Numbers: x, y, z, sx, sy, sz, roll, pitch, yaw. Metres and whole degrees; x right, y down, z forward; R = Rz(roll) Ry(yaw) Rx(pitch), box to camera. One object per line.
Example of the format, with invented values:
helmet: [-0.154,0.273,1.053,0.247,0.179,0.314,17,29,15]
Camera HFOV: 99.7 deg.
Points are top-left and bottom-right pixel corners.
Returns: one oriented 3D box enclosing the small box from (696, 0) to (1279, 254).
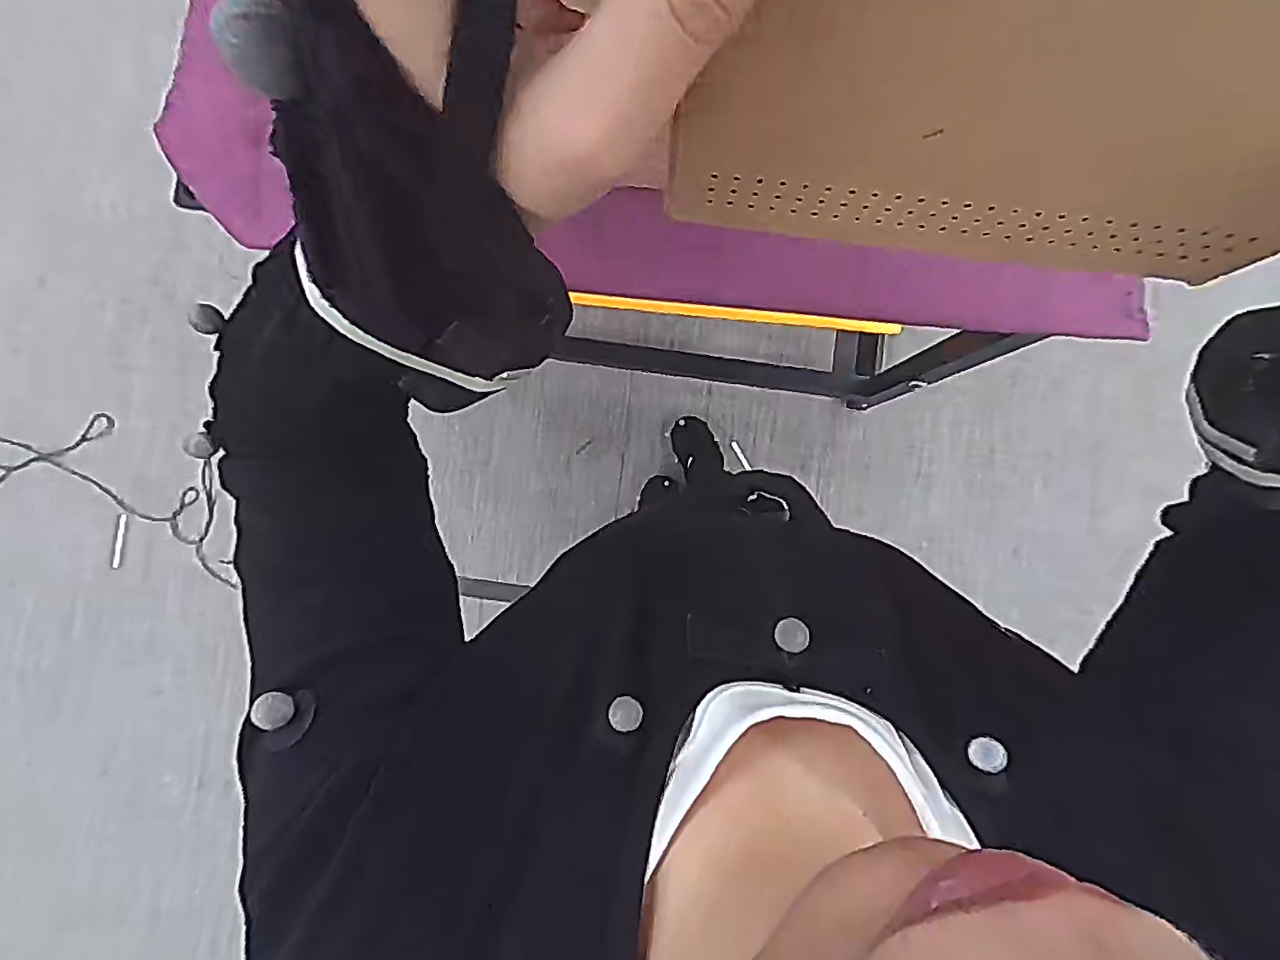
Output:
small box: [0.109,-0.159,0.092,0.179,0.176,0.168,8,89,1]
